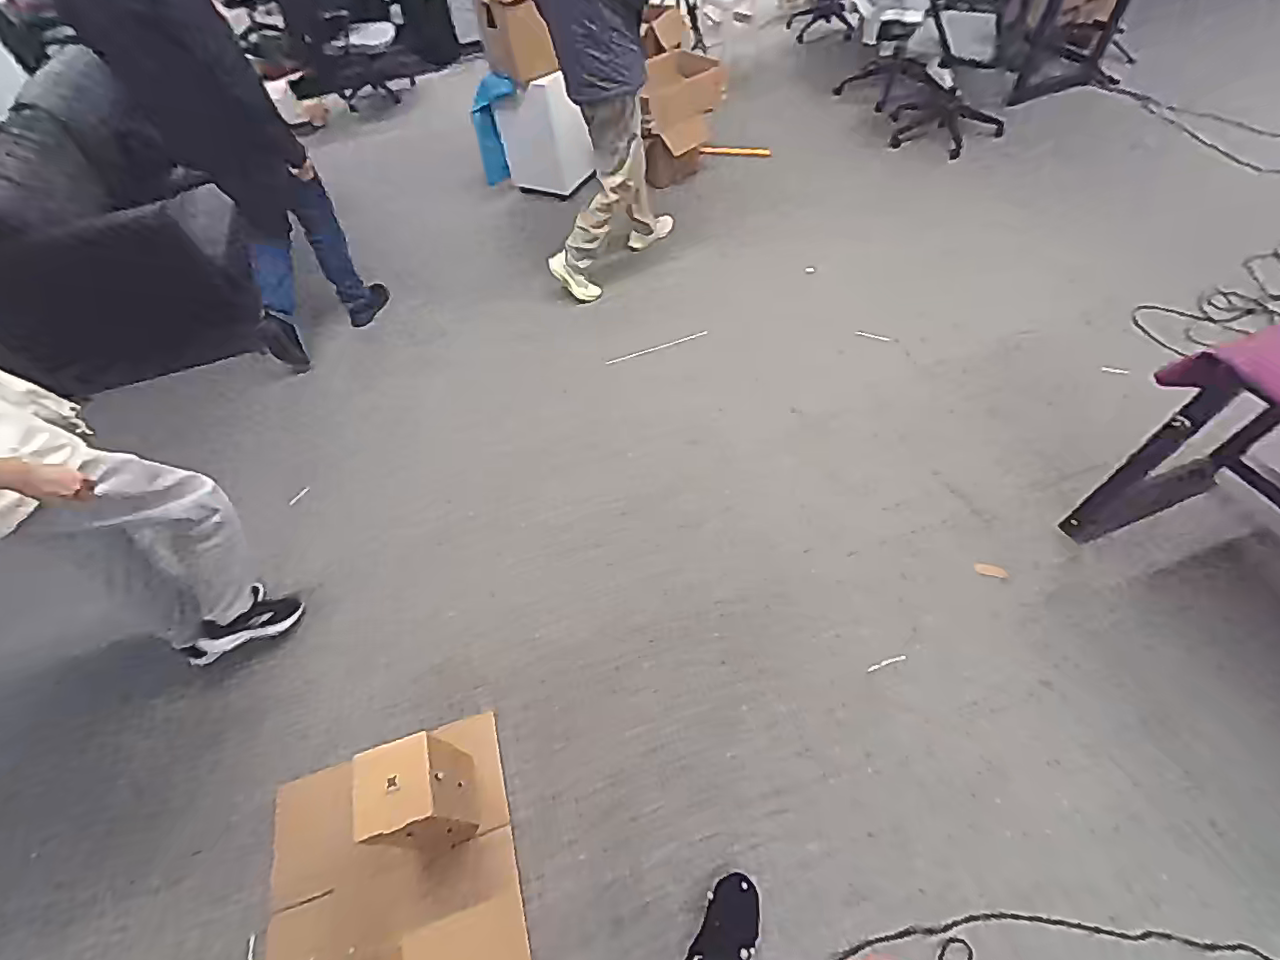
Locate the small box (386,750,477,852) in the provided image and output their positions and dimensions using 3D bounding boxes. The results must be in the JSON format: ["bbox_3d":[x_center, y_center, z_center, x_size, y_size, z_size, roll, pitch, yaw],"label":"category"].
[{"bbox_3d":[-0.519,0.804,1.352,0.168,0.176,0.179,-16,55,-6],"label":"small box"}]

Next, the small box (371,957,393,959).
[{"bbox_3d":[-0.623,1.127,1.130,0.168,0.176,0.179,-11,54,-1],"label":"small box"}]

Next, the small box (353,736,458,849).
[{"bbox_3d":[-0.526,0.709,1.222,0.168,0.176,0.179,-17,56,-7],"label":"small box"}]
